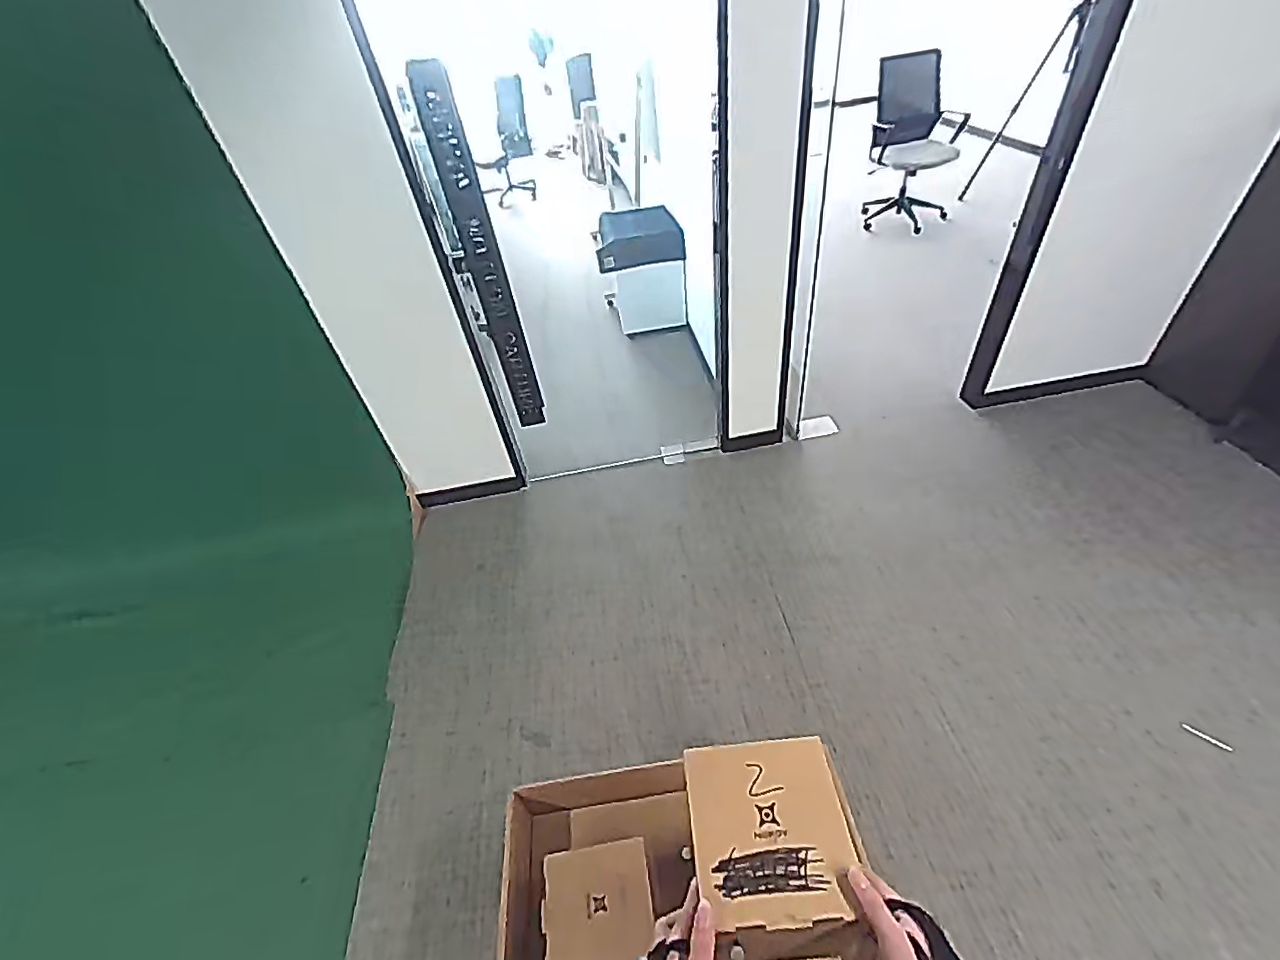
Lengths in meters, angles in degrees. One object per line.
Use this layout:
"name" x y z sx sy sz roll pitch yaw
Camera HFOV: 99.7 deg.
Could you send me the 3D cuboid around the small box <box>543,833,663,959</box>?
"small box" -0.061 0.734 0.923 0.179 0.176 0.168 -8 43 -2
